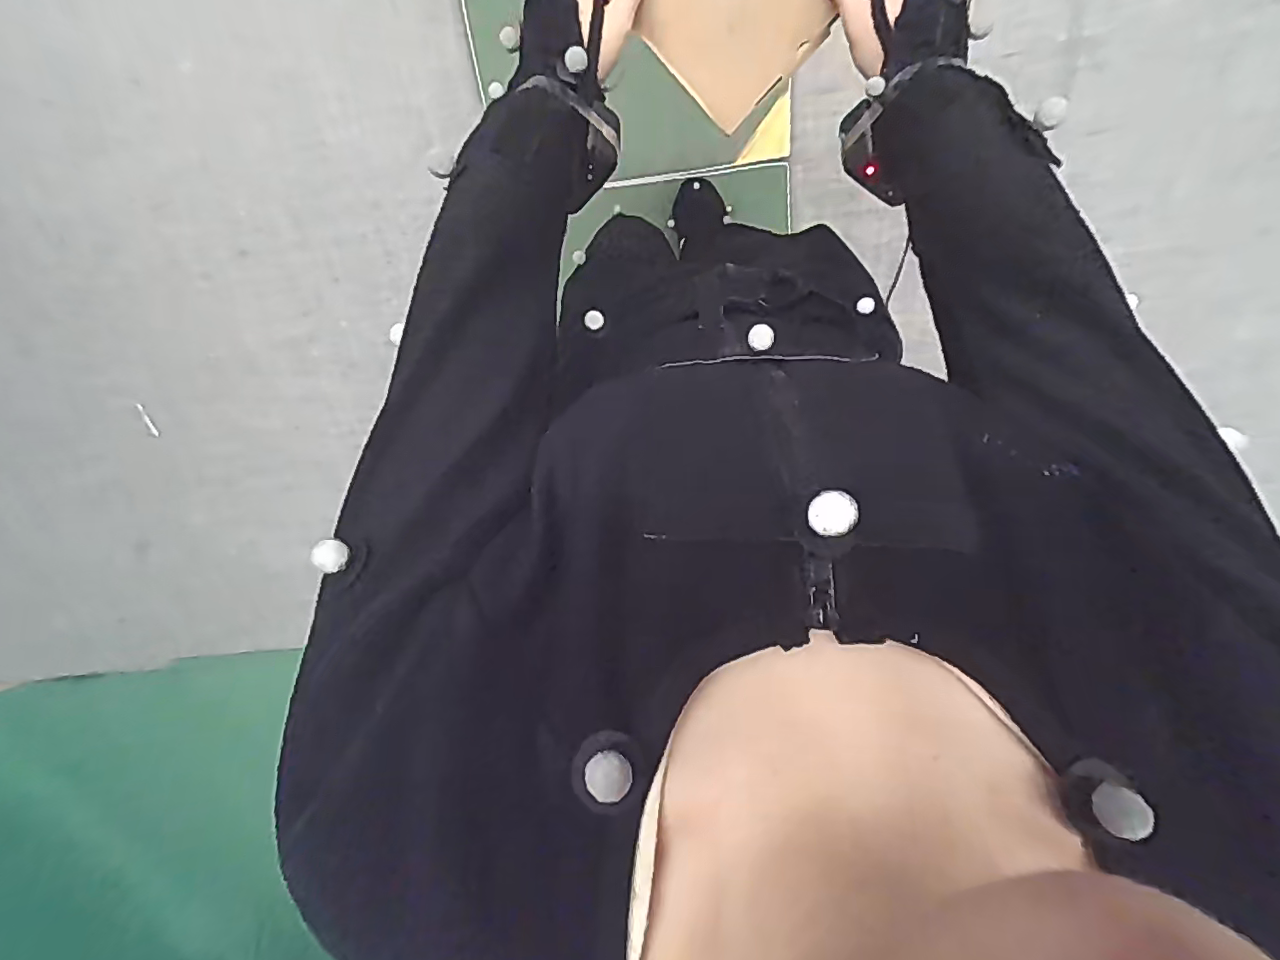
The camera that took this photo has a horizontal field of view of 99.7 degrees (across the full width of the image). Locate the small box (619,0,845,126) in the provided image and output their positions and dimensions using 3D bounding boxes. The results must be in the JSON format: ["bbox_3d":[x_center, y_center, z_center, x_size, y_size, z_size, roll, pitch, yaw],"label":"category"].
[{"bbox_3d":[0.073,-0.453,0.451,0.179,0.176,0.168,33,129,-28],"label":"small box"}]
